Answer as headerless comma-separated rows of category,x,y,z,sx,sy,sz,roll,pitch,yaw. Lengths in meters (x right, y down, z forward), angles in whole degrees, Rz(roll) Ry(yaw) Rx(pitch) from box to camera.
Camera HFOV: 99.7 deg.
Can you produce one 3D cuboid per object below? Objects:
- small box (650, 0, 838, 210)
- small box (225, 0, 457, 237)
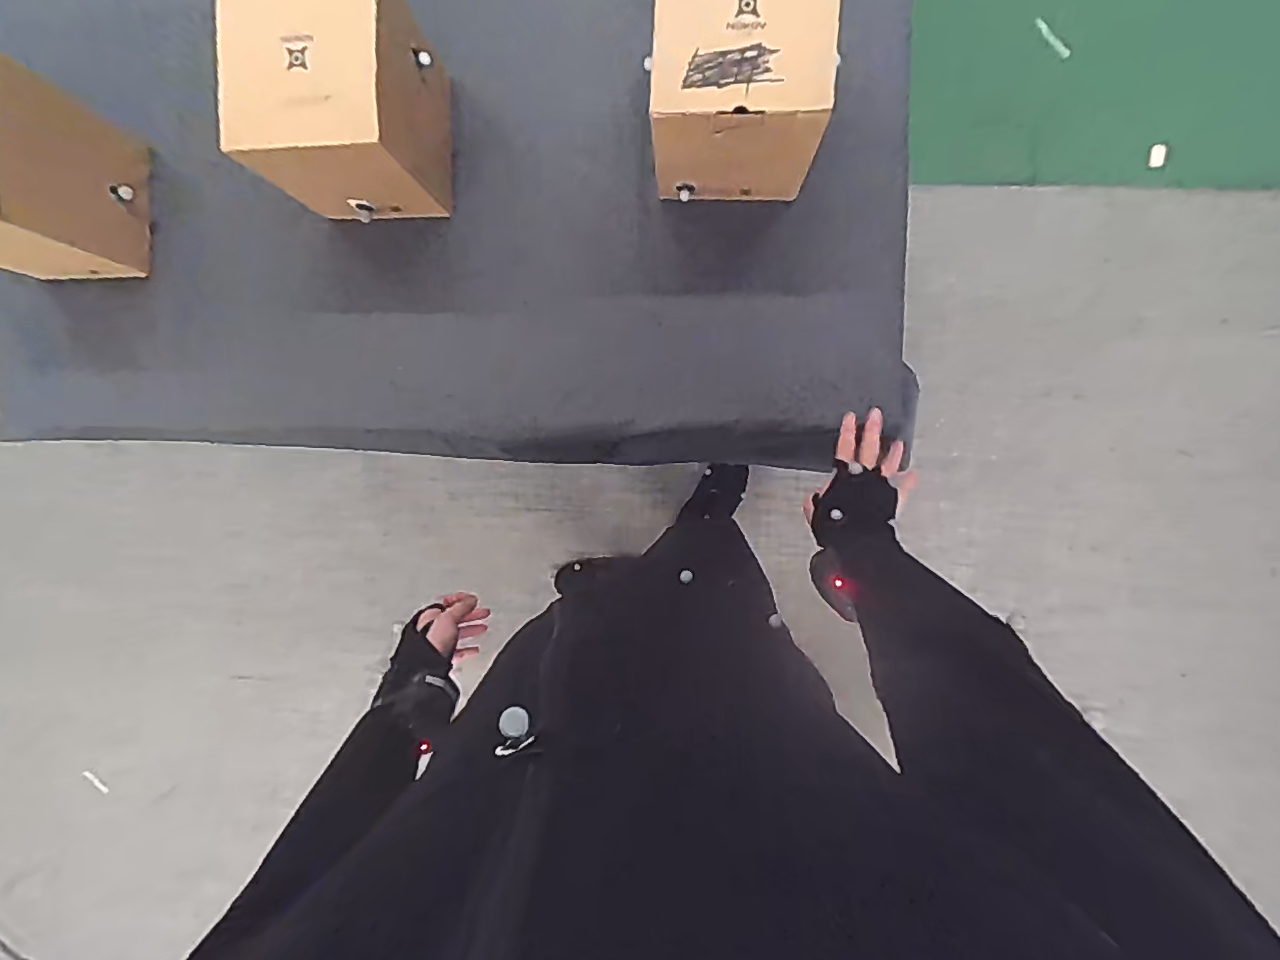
small box,0.101,-0.405,0.568,0.168,0.176,0.179,2,92,4
small box,-0.317,-0.396,0.605,0.168,0.176,0.179,-1,93,6
